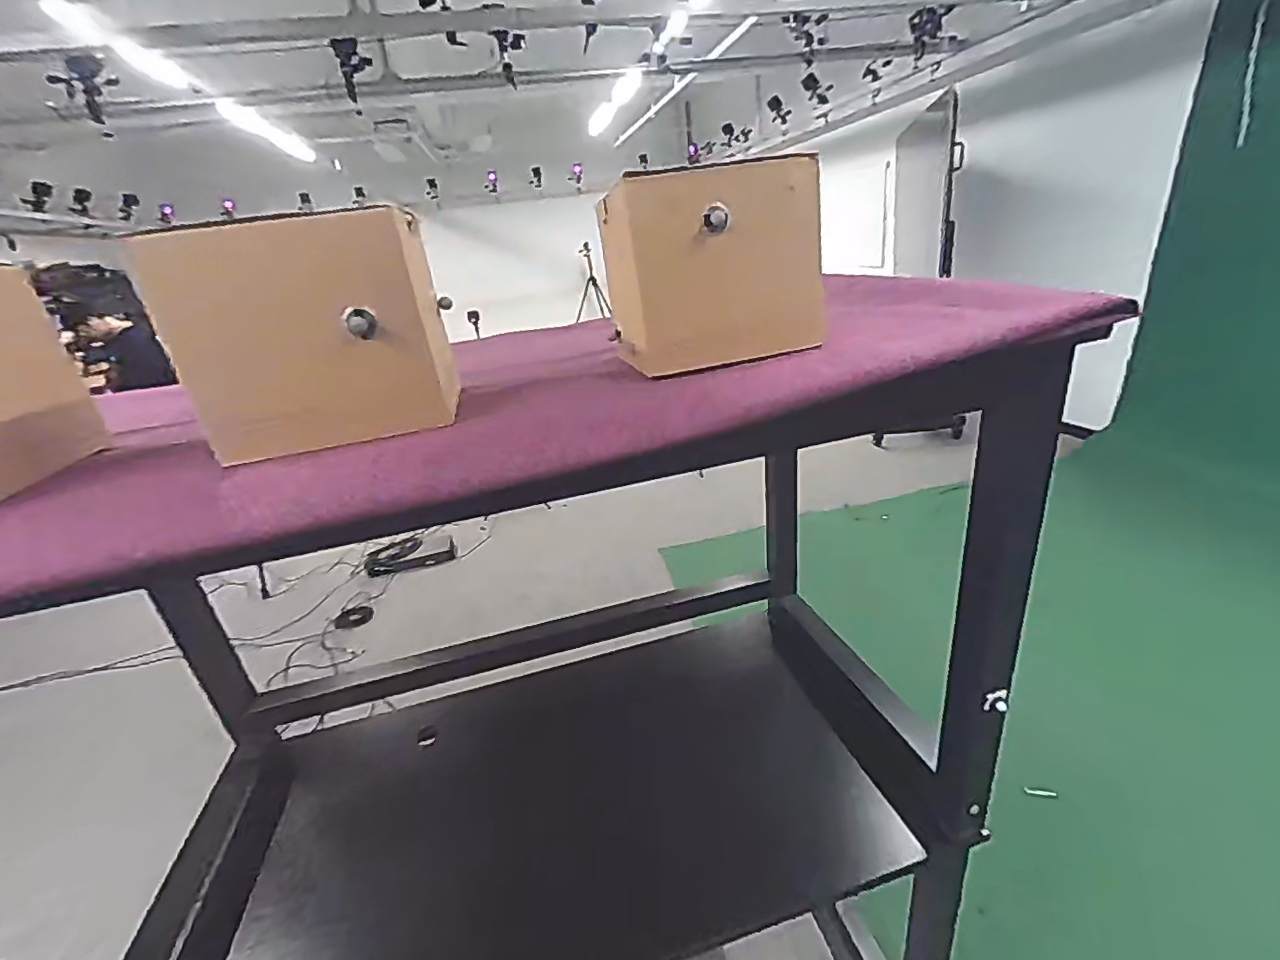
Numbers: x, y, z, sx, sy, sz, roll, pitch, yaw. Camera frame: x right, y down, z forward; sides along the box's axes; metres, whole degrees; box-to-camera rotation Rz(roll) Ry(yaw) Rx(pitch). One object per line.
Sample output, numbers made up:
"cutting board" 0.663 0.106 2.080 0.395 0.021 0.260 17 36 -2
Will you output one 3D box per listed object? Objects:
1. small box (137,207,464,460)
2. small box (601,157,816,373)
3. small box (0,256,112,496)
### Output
"small box" -0.262 -0.132 0.477 0.179 0.176 0.168 -13 23 -11
"small box" 0.068 -0.212 0.560 0.179 0.176 0.168 -11 21 -9
"small box" -0.569 -0.069 0.409 0.168 0.176 0.179 -11 23 -12
